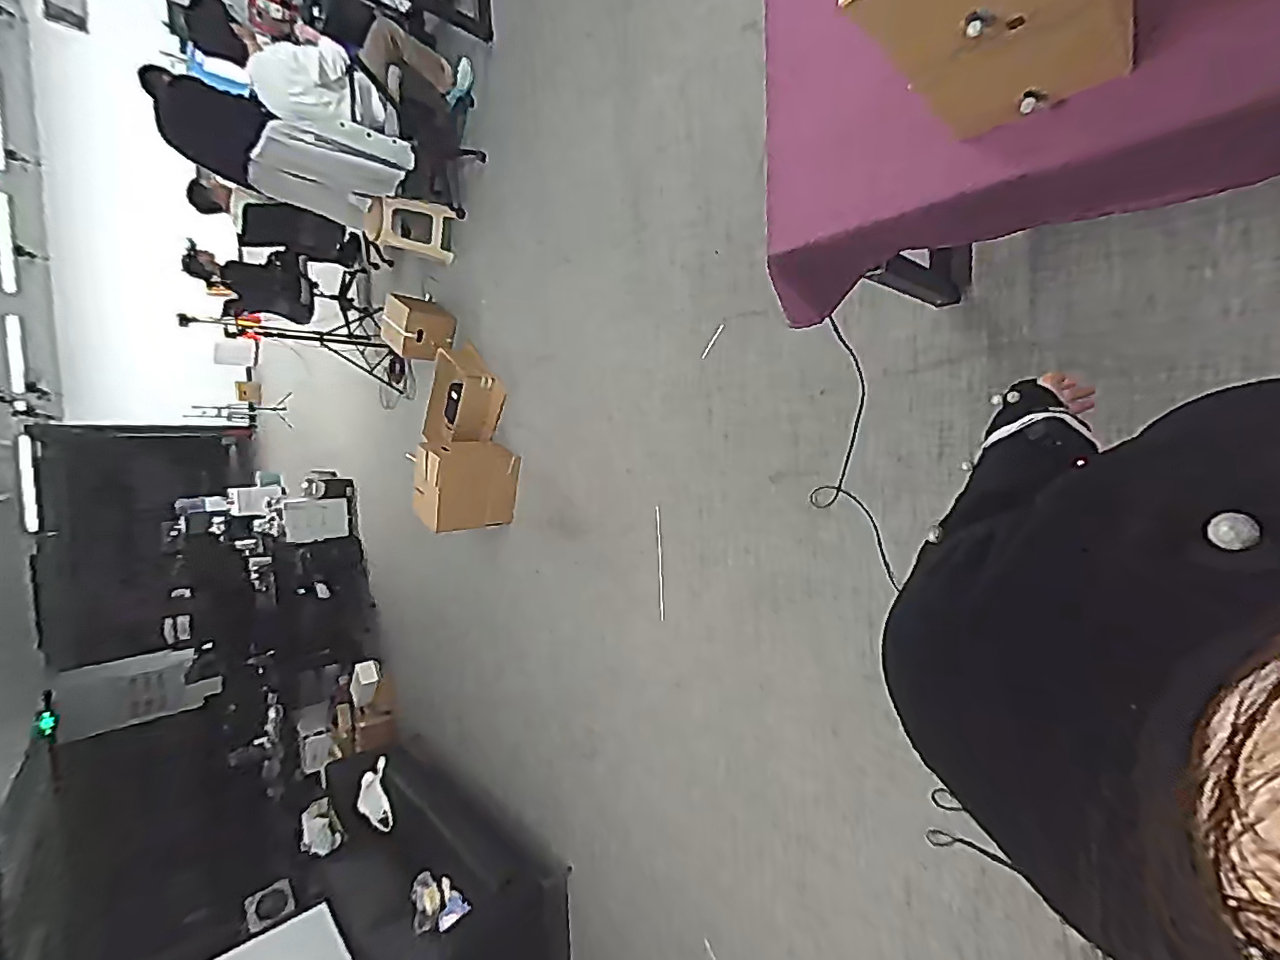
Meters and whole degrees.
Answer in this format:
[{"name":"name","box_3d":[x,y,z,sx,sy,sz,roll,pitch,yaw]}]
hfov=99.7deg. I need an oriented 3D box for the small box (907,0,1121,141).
[{"name":"small box","box_3d":[0.418,-0.524,0.604,0.179,0.176,0.168,0,93,46]}]
